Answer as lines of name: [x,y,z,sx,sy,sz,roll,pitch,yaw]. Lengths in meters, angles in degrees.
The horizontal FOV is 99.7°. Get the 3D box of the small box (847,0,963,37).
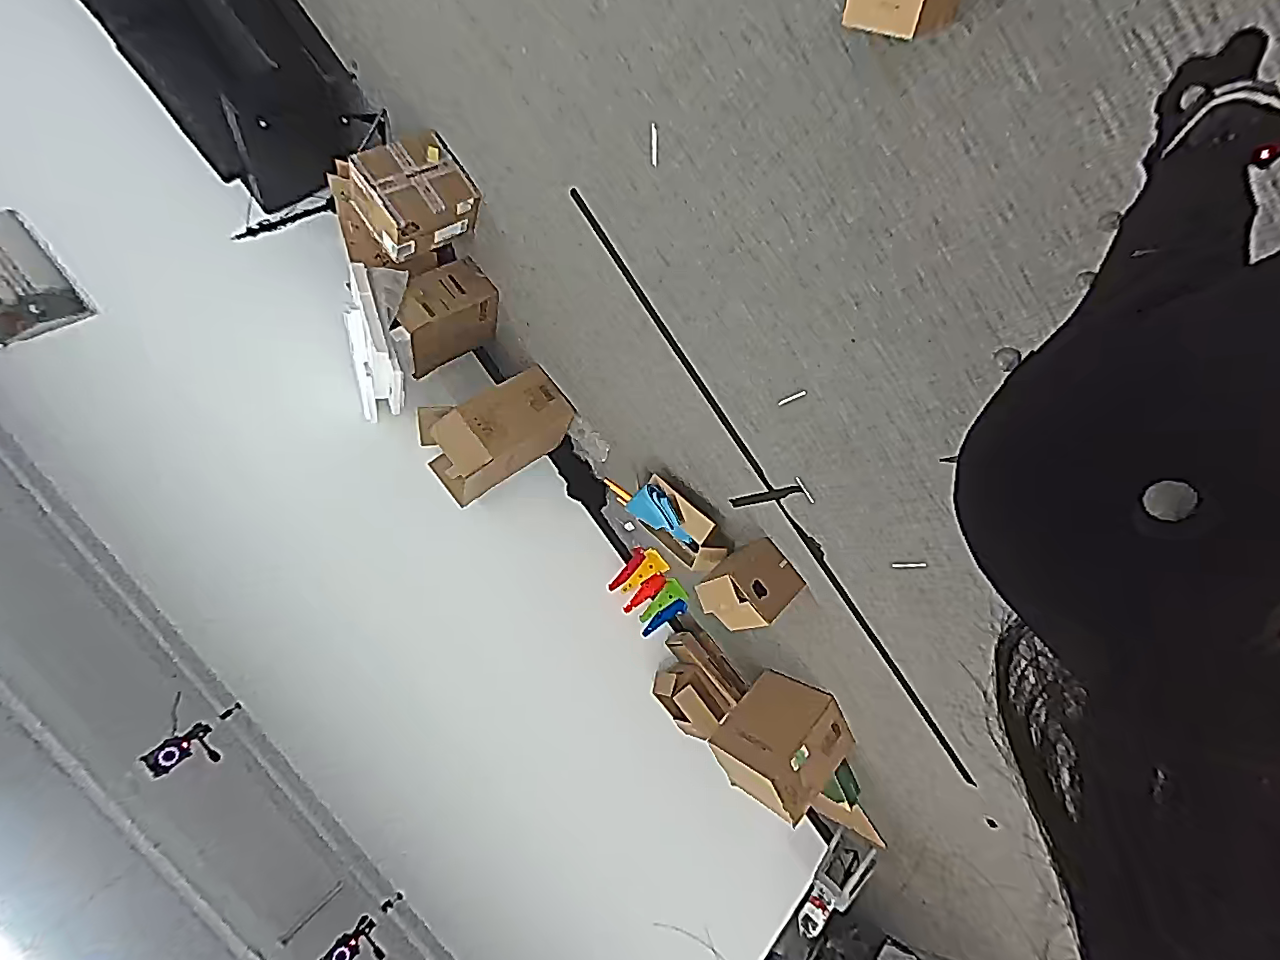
small box: [0.547,-1.012,1.063,0.168,0.176,0.179,39,152,27]
